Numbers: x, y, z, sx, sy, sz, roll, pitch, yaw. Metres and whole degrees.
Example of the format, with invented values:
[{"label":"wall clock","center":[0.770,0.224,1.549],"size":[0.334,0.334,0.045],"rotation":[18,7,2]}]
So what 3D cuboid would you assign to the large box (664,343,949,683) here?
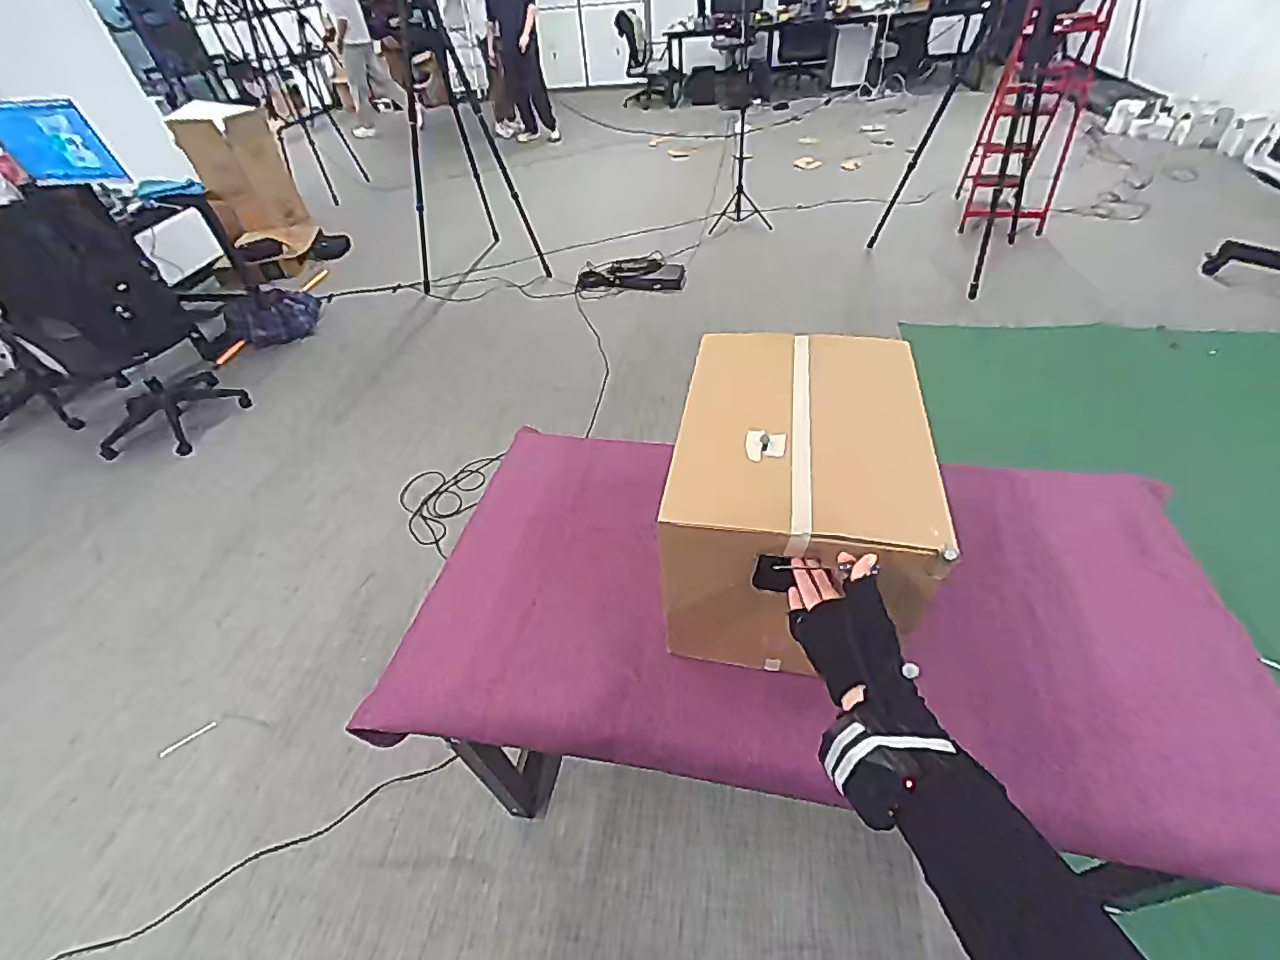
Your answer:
[{"label":"large box","center":[0.223,0.036,0.831],"size":[0.320,0.320,0.408],"rotation":[6,47,12]}]
